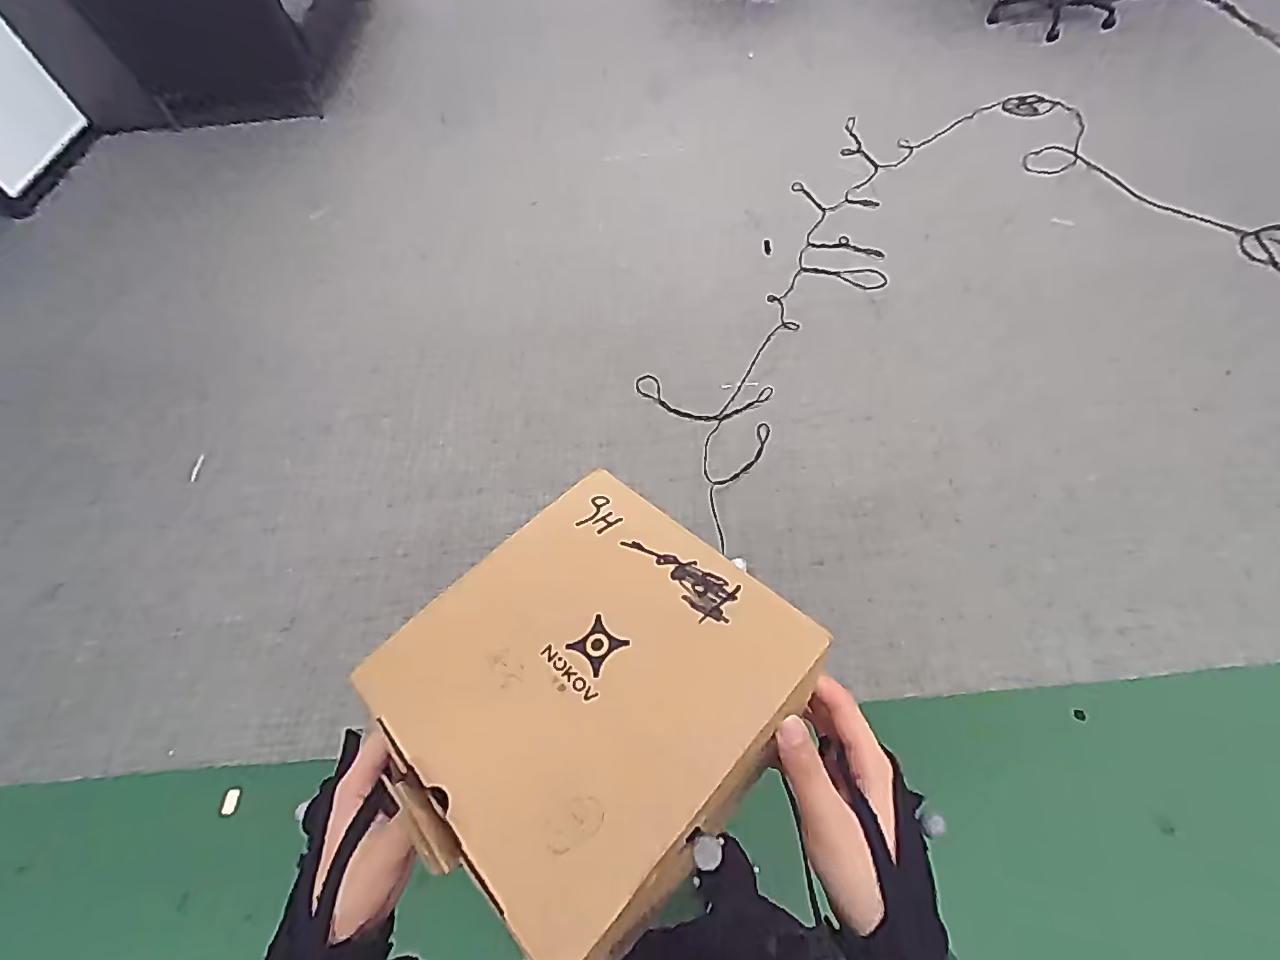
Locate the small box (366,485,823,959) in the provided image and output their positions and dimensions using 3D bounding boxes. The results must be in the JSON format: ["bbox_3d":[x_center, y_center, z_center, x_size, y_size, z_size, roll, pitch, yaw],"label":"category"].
[{"bbox_3d":[-0.015,0.144,0.328,0.168,0.176,0.179,35,65,30],"label":"small box"}]
